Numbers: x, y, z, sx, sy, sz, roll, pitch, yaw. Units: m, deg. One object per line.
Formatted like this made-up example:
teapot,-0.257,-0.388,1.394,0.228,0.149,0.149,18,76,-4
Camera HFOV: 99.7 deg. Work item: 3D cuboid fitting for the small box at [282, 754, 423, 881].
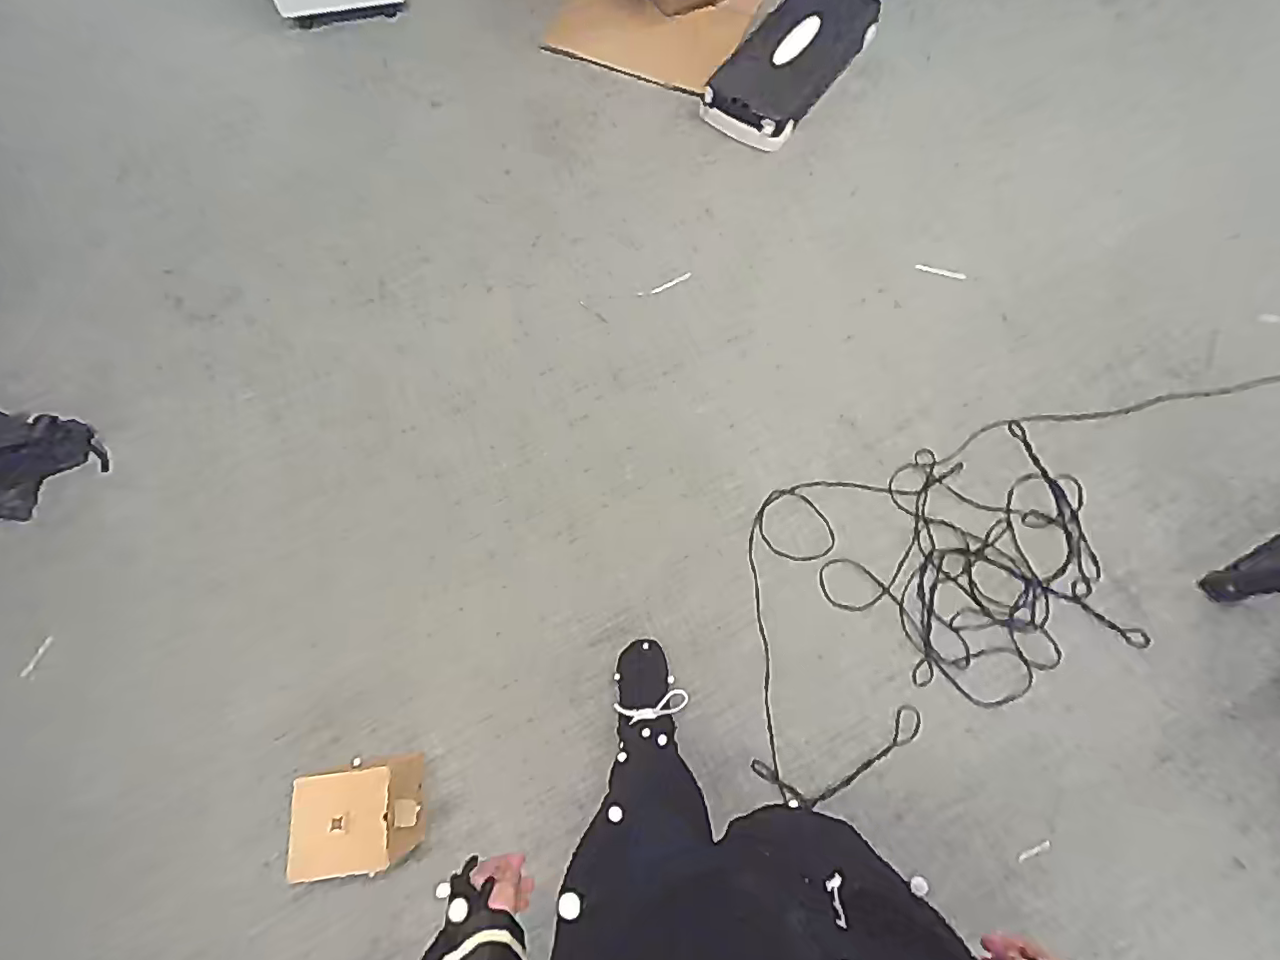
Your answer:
small box,-0.534,0.630,1.027,0.179,0.176,0.168,-6,71,-2
